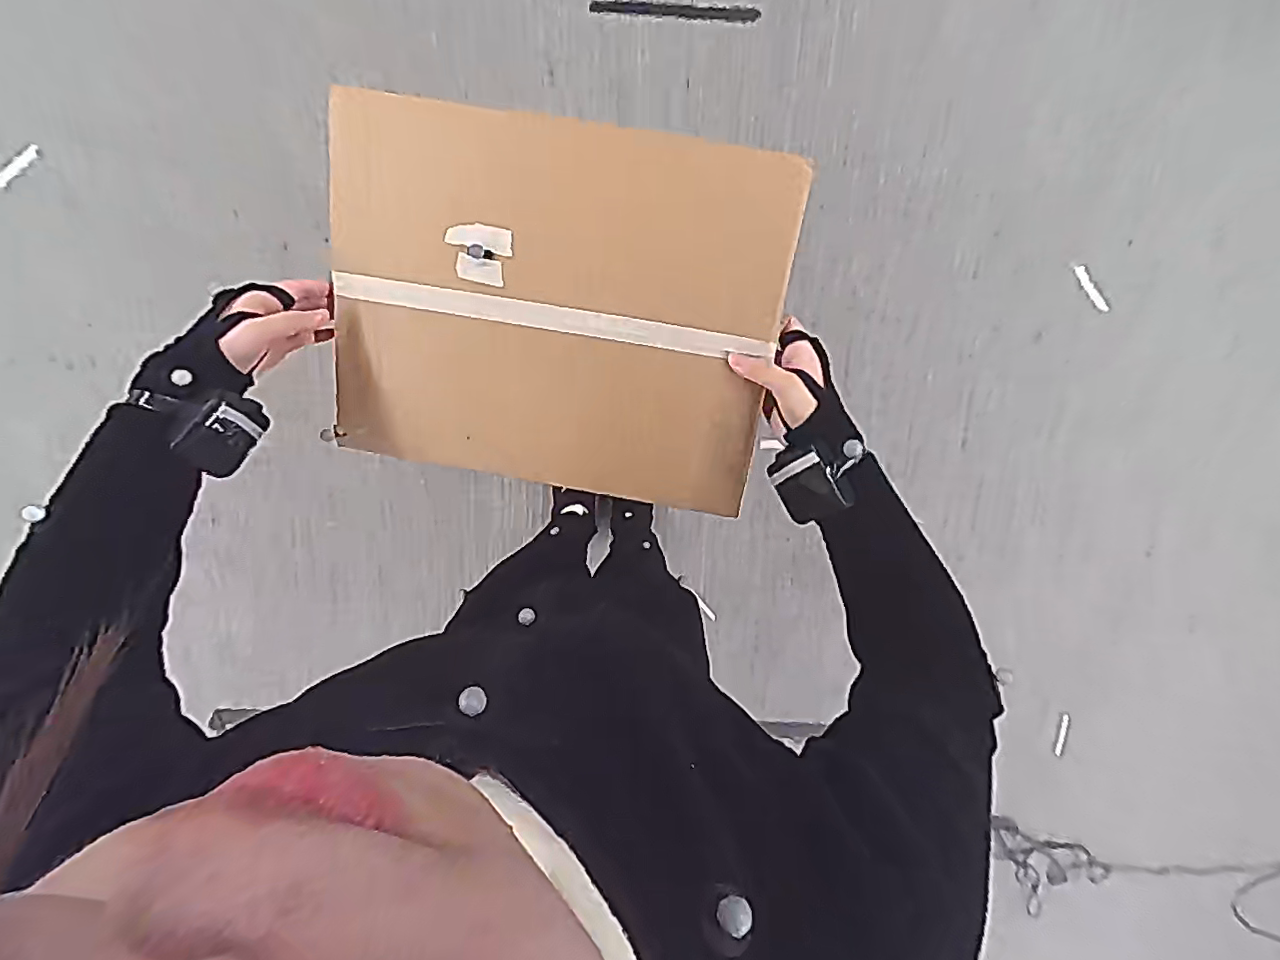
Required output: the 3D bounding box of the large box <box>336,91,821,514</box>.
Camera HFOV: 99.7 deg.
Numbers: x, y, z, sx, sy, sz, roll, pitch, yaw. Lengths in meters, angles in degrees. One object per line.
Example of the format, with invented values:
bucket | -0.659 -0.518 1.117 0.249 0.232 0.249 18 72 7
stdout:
large box | -0.055 -0.185 0.612 0.408 0.320 0.320 10 107 4
